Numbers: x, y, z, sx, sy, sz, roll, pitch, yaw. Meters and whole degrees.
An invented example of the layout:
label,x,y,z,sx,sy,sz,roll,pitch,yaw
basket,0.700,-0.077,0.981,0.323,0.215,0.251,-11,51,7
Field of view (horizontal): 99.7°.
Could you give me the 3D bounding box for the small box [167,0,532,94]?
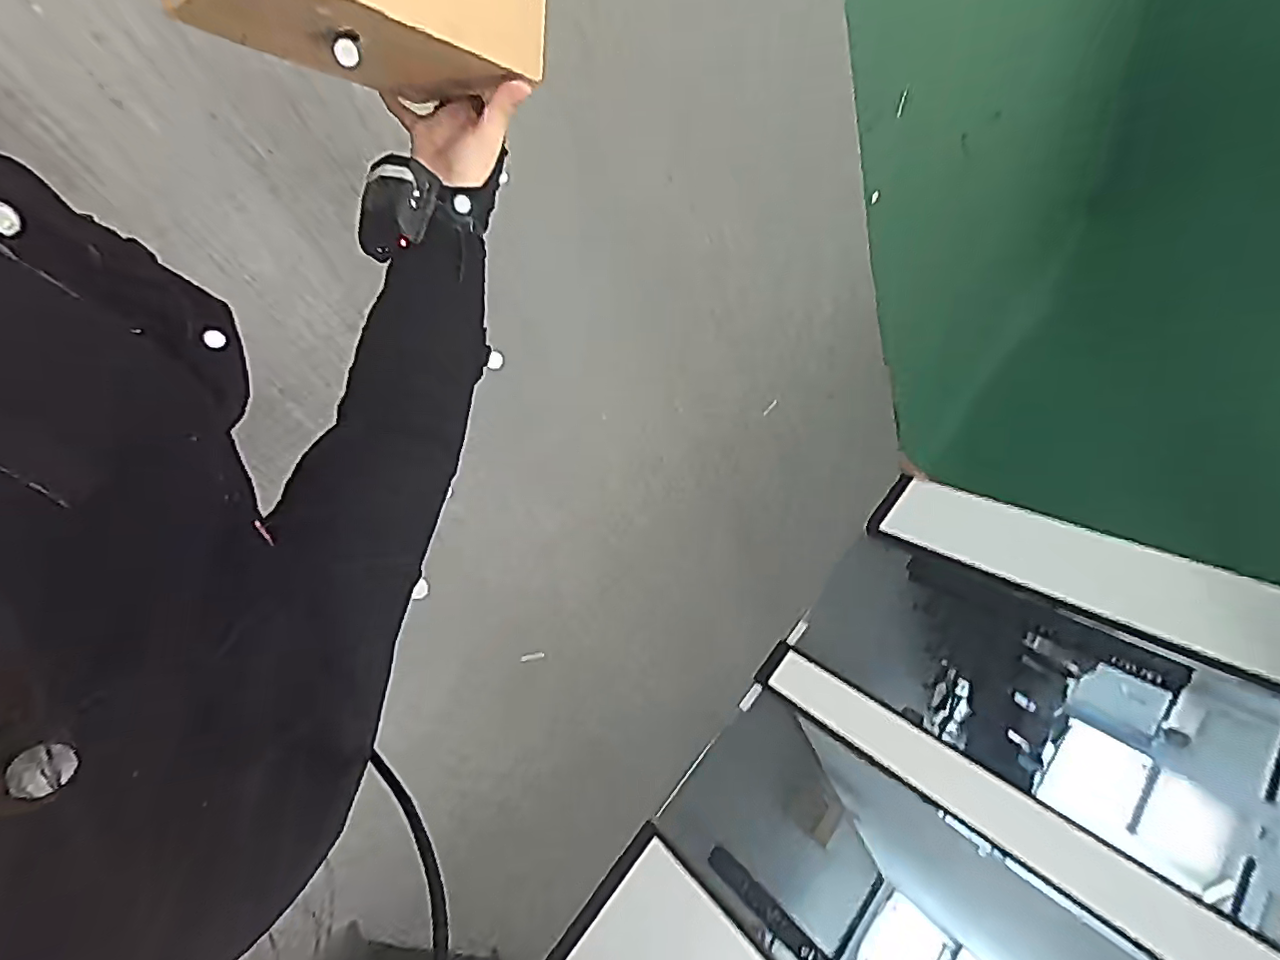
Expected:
label,x,y,z,sx,sy,sz,roll,pitch,yaw
small box,-0.185,-0.363,0.333,0.179,0.176,0.168,-16,121,-45
